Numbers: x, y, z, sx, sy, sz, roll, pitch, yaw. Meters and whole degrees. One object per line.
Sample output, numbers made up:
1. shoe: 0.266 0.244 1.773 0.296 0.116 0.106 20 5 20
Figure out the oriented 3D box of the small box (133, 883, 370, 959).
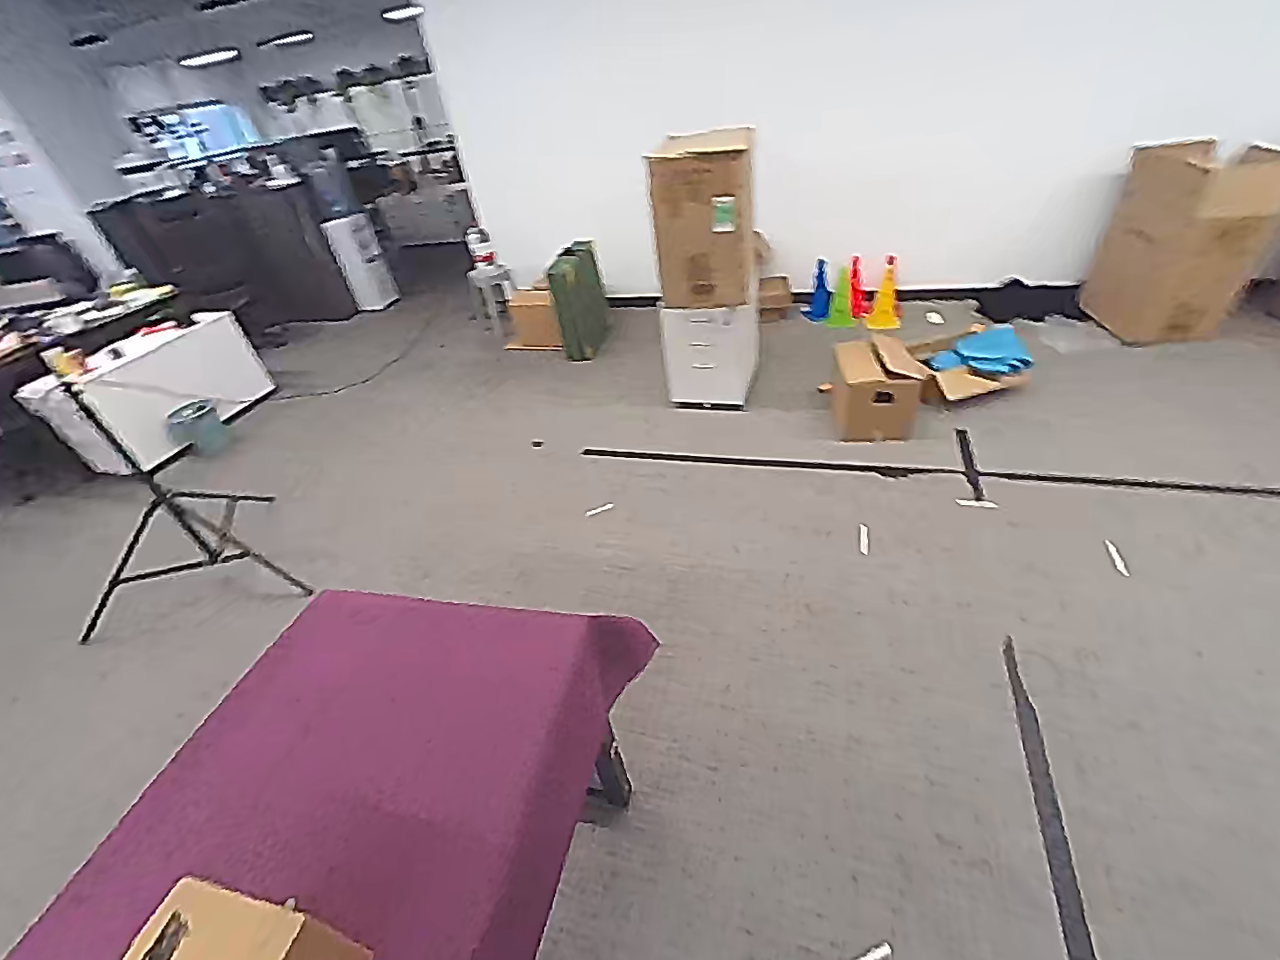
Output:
1. small box: -0.431 0.568 0.571 0.179 0.176 0.168 2 39 15
